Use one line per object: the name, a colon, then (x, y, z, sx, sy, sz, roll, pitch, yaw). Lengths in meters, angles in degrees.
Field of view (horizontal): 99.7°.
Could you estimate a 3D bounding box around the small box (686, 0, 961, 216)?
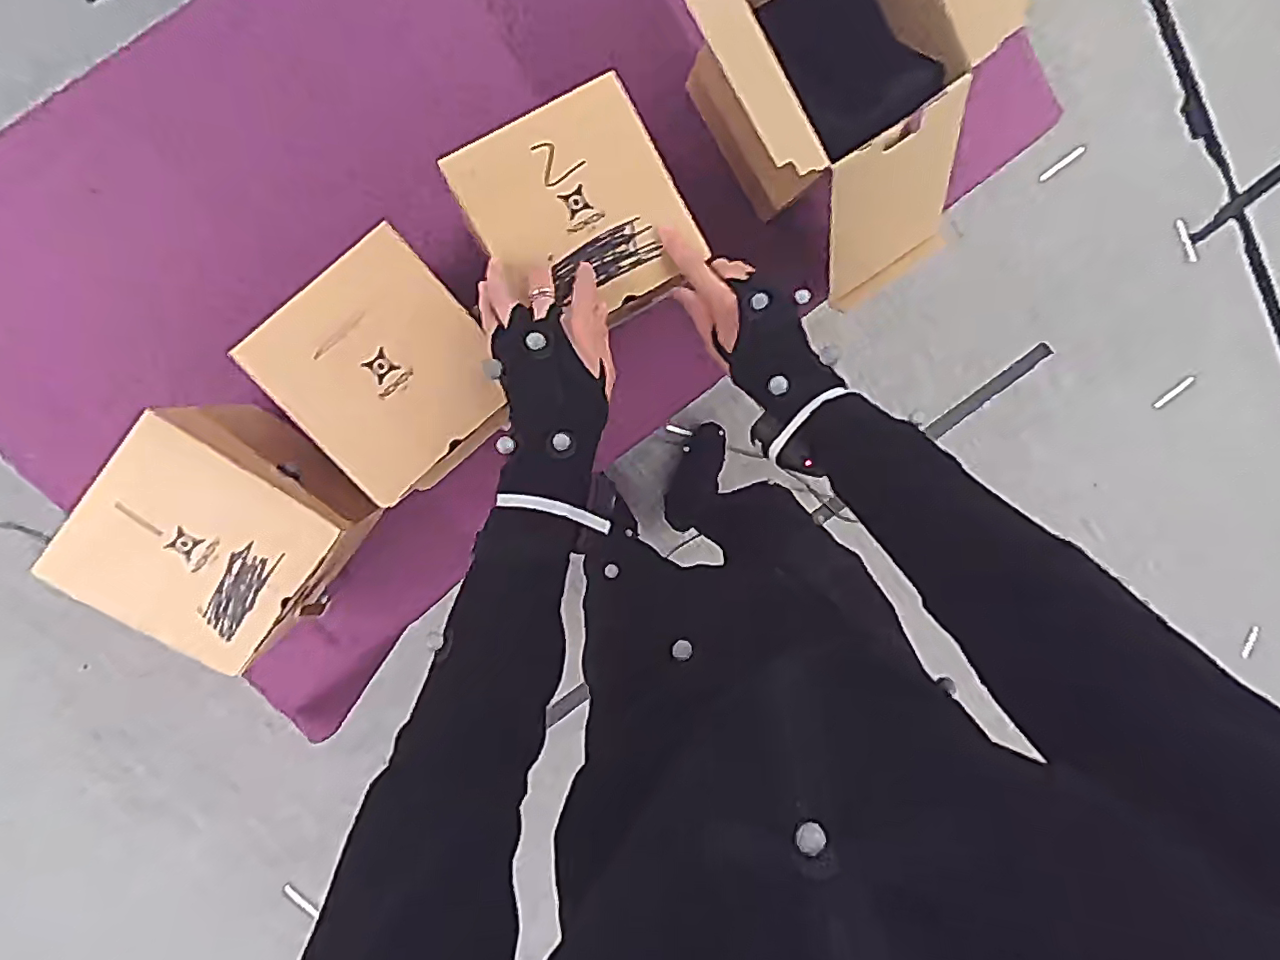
small box: (0.169, -0.409, 0.551, 0.168, 0.176, 0.179, -35, 103, -2)
